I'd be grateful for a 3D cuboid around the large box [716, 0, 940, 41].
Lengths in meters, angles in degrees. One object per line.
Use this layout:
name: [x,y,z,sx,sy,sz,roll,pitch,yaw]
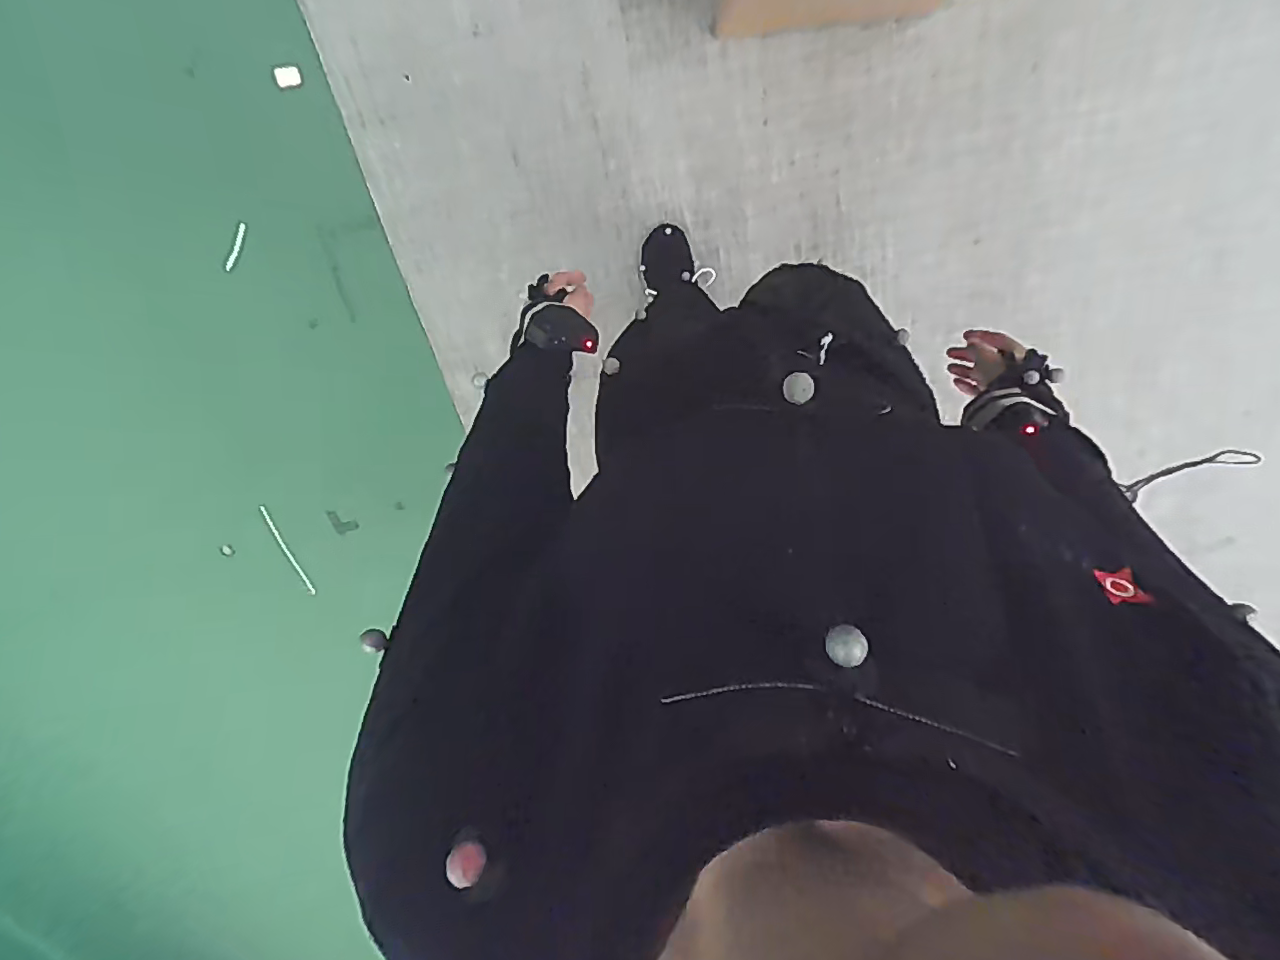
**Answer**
large box: [0.320,-0.912,0.802,0.408,0.320,0.320,-6,117,3]
